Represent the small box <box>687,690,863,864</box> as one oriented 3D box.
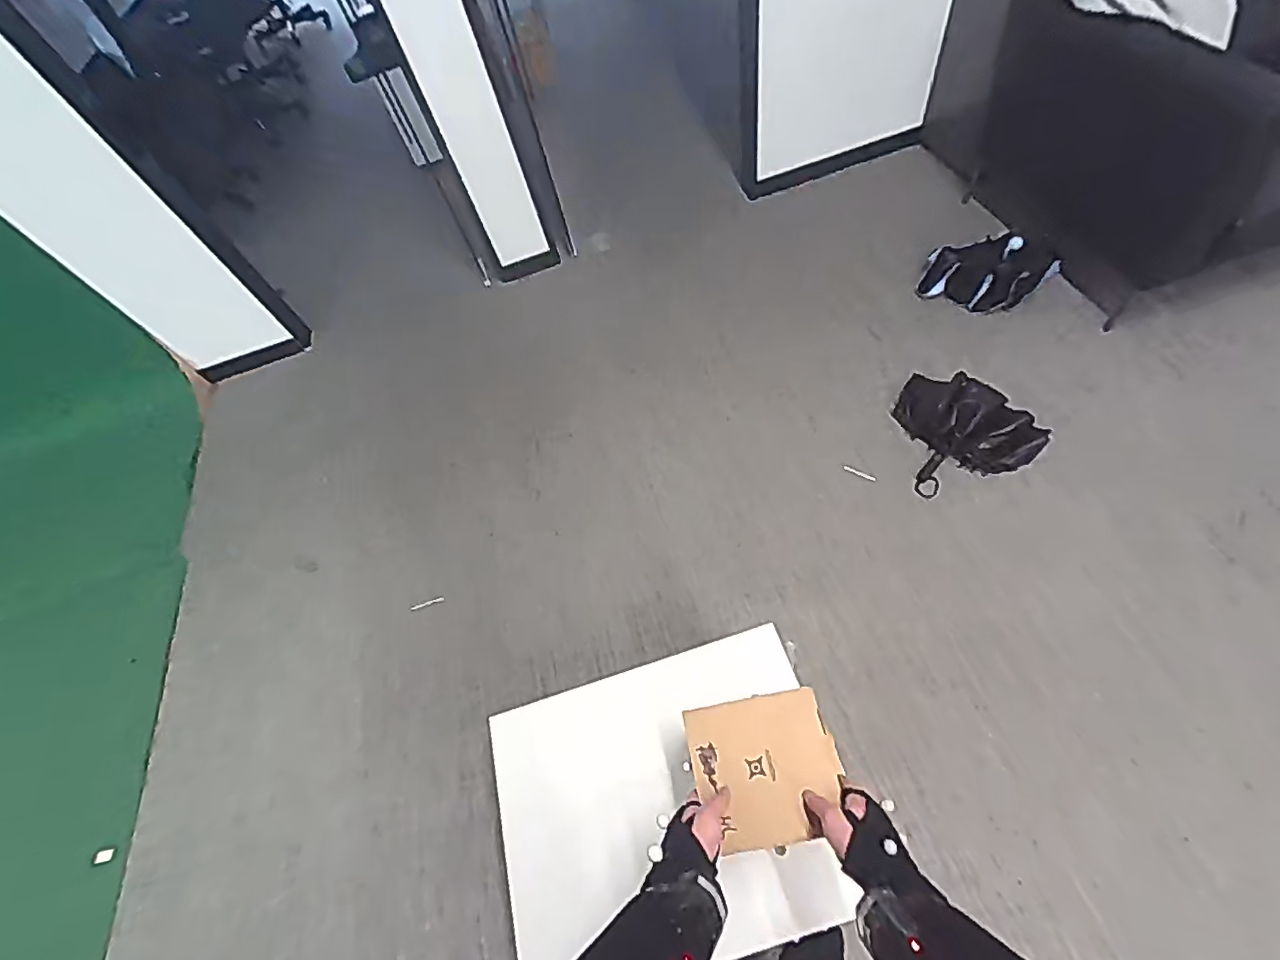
[{"bbox_3d":[0.163,0.392,0.717,0.179,0.176,0.168,-11,57,0],"label":"small box"}]
